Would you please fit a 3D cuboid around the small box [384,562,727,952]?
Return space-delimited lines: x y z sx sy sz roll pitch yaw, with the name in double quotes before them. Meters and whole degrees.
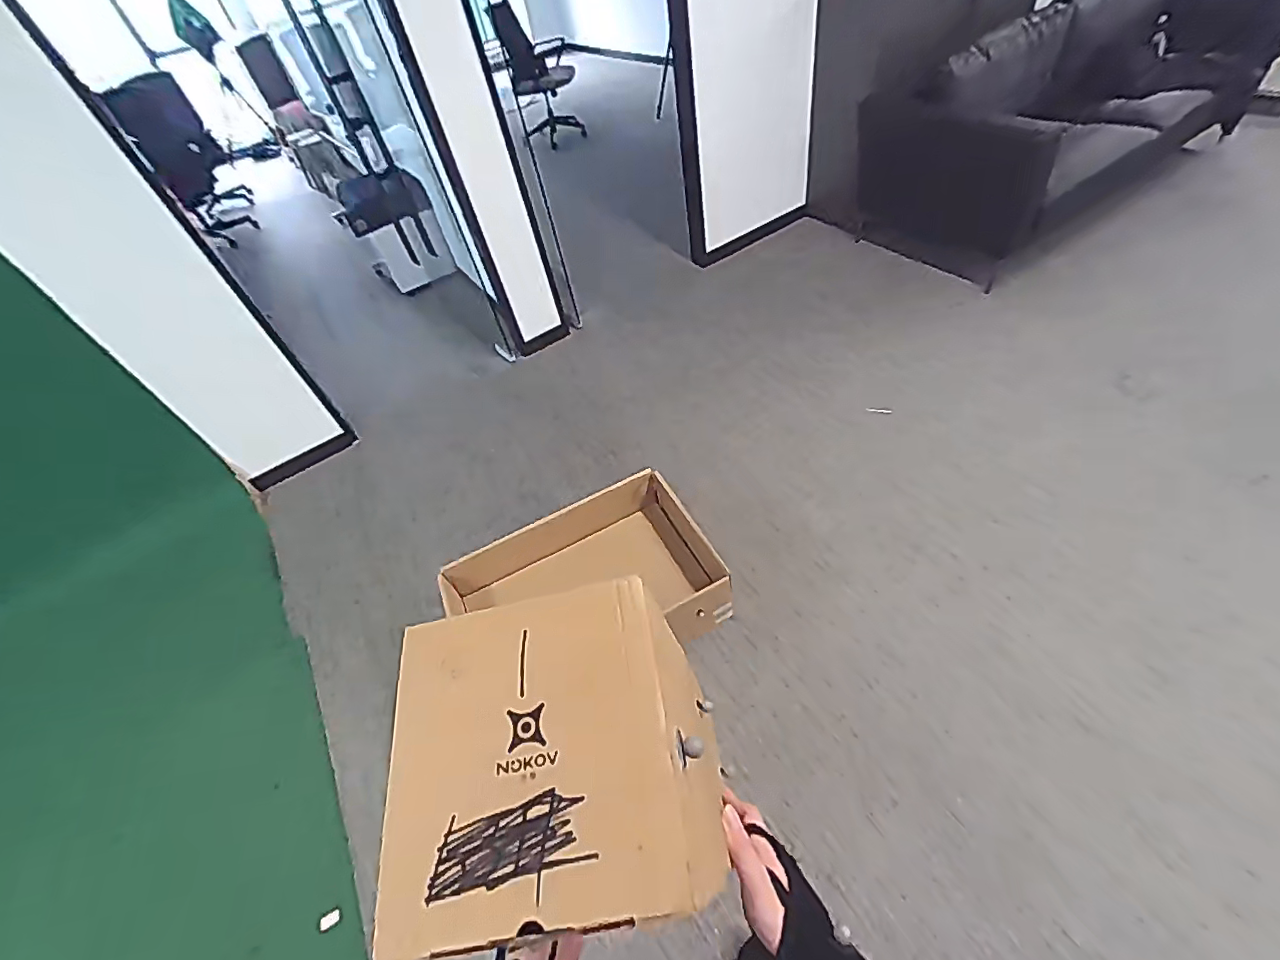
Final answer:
"small box" -0.042 0.182 0.367 0.168 0.176 0.179 -13 55 4
